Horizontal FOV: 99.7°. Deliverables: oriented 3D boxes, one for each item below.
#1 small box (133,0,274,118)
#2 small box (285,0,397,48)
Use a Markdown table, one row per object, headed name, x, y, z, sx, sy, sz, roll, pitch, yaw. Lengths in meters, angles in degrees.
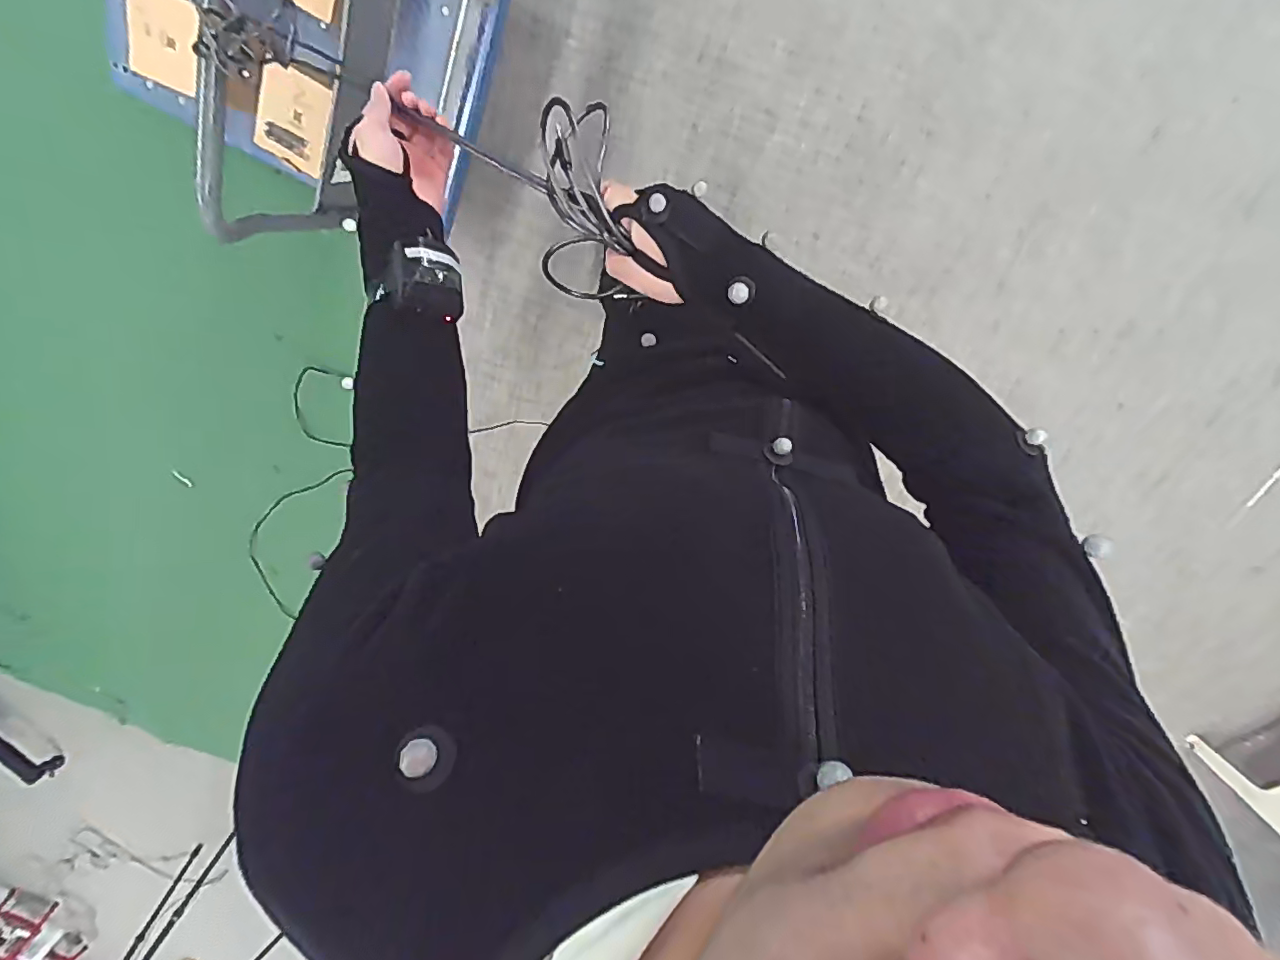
| name | x | y | z | sx | sy | sz | roll | pitch | yaw |
| --- | --- | --- | --- | --- | --- | --- | --- | --- | --- |
| small box | -0.934 | -0.913 | 1.170 | 0.179 | 0.176 | 0.168 | 24 | 116 | -1 |
| small box | -0.610 | -1.000 | 1.068 | 0.179 | 0.176 | 0.168 | 28 | 117 | -4 |
